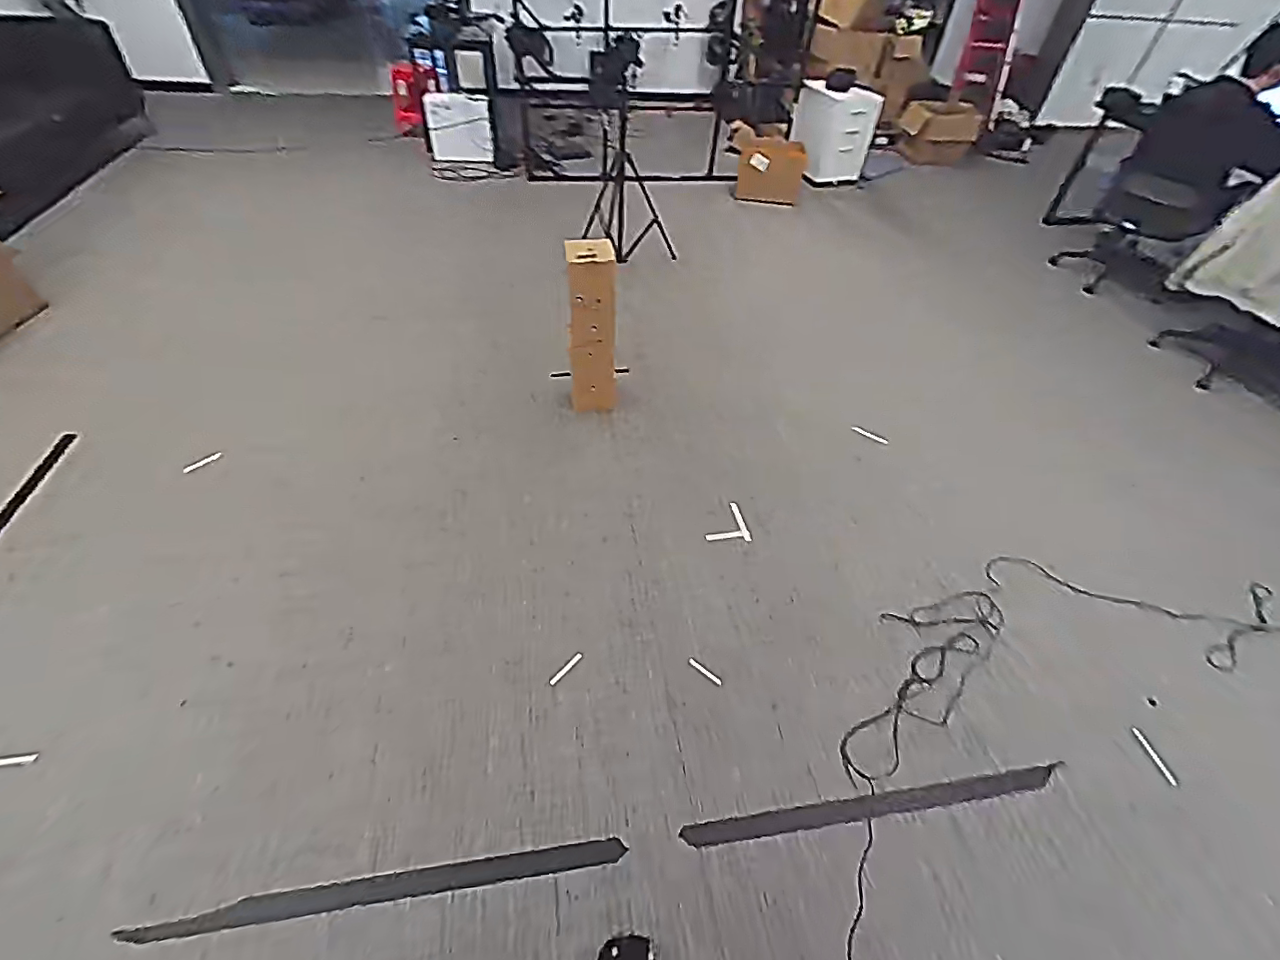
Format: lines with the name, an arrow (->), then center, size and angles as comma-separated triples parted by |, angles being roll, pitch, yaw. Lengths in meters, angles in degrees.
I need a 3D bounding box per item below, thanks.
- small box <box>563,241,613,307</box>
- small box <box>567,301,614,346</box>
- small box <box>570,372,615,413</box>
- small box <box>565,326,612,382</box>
small box -> -0.185, -0.735, 1.939 | 0.168, 0.176, 0.179 | -5, 47, -8
small box -> -0.189, -0.622, 2.058 | 0.168, 0.176, 0.179 | -4, 49, -7
small box -> -0.206, -0.400, 2.299 | 0.179, 0.176, 0.168 | -6, 48, -9
small box -> -0.205, -0.509, 2.175 | 0.179, 0.176, 0.168 | -4, 49, -7
